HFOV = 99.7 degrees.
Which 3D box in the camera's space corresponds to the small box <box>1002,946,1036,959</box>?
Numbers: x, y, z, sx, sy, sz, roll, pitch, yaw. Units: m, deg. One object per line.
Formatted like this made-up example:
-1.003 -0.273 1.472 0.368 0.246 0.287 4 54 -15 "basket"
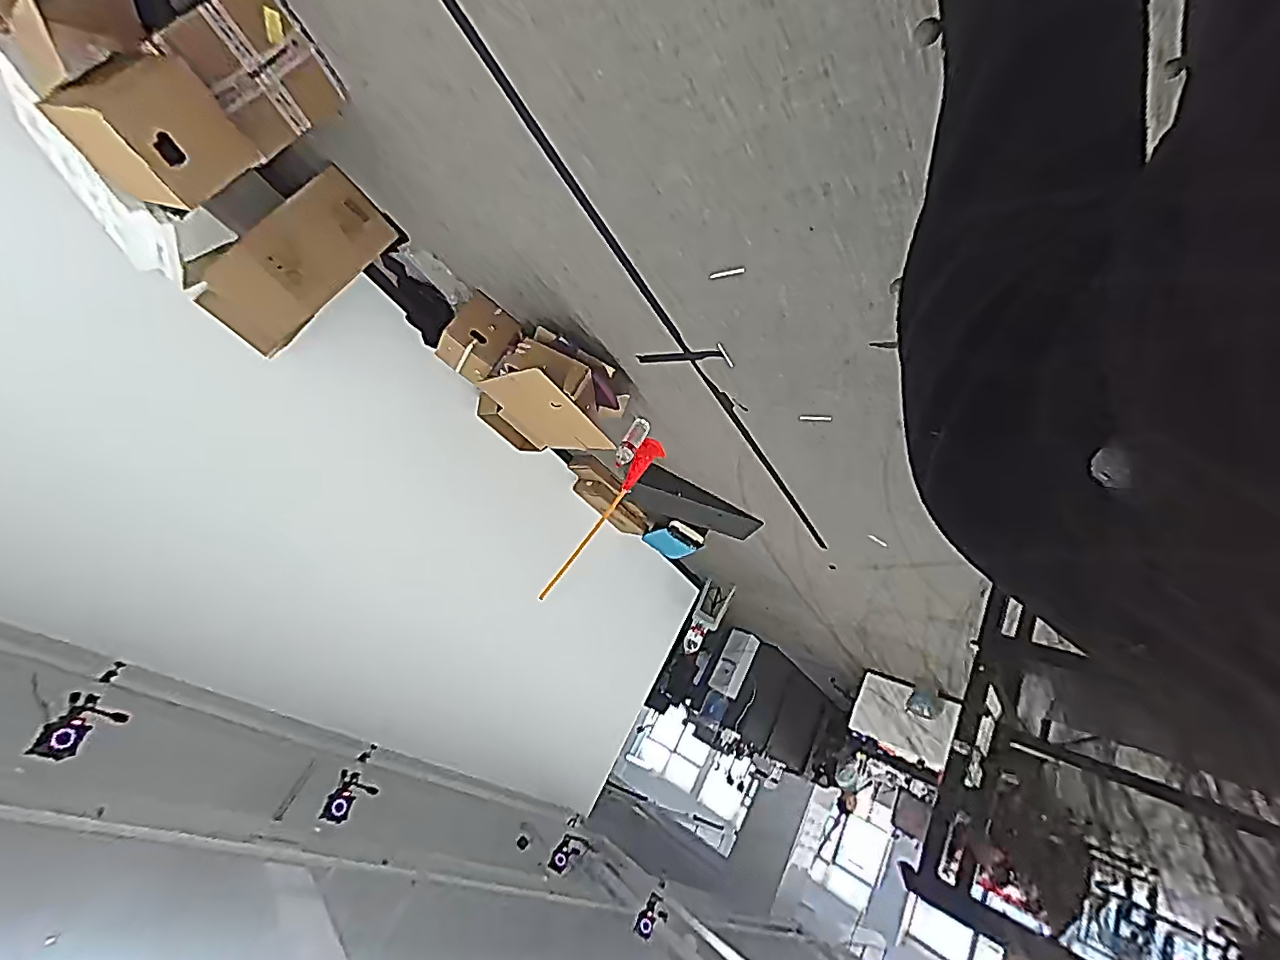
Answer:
0.992 1.300 1.341 0.168 0.176 0.179 8 151 44 "small box"
